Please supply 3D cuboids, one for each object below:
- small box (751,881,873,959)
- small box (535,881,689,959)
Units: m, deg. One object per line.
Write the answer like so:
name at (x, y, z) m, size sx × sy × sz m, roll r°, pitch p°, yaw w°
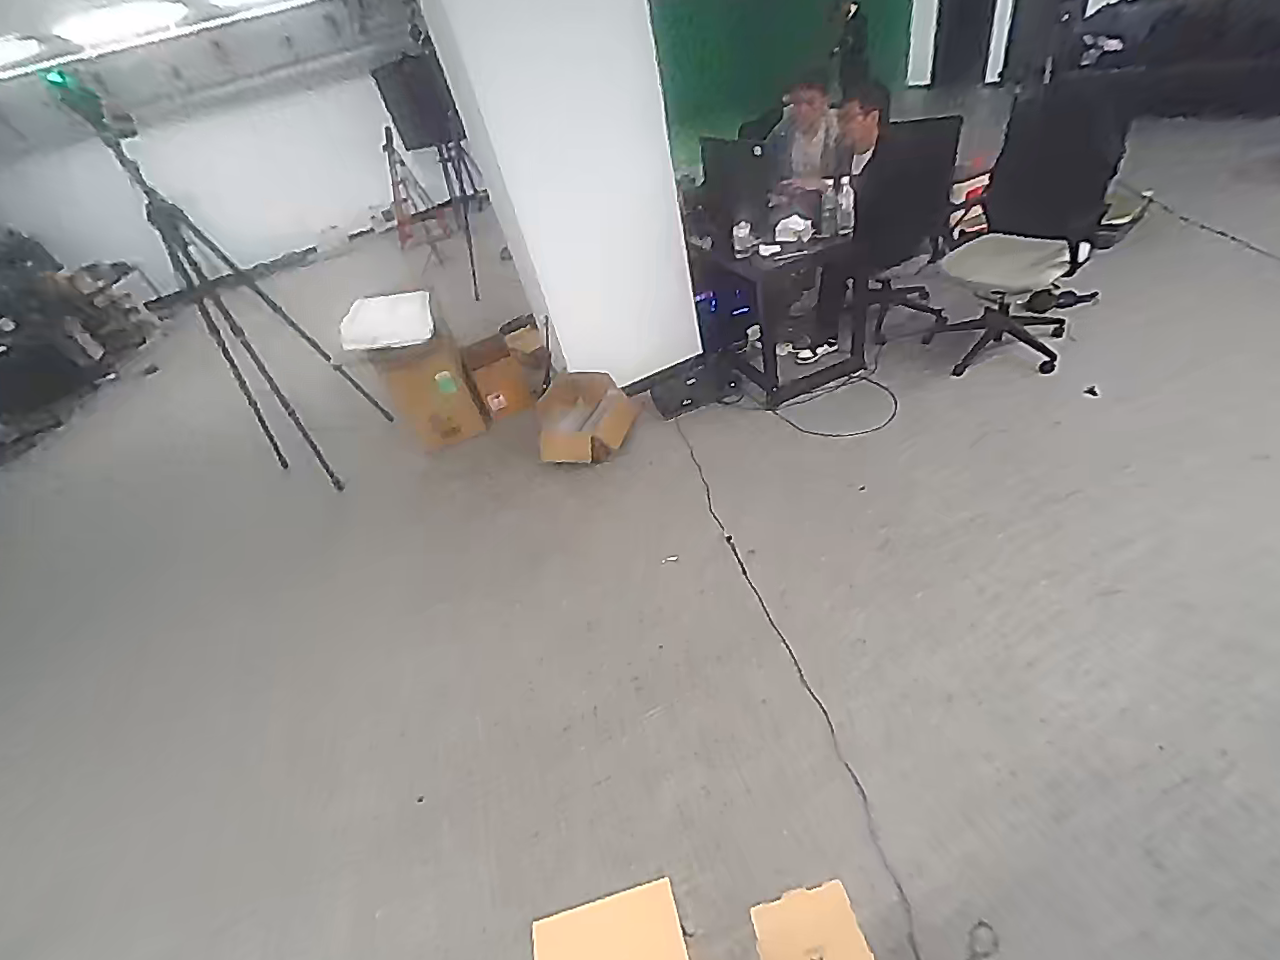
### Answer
small box at (0.295, 0.812, 0.893) m, size 0.168 × 0.176 × 0.179 m, roll -18°, pitch 37°, yaw -1°
small box at (-0.017, 0.604, 0.612) m, size 0.168 × 0.176 × 0.179 m, roll -13°, pitch 39°, yaw -8°
